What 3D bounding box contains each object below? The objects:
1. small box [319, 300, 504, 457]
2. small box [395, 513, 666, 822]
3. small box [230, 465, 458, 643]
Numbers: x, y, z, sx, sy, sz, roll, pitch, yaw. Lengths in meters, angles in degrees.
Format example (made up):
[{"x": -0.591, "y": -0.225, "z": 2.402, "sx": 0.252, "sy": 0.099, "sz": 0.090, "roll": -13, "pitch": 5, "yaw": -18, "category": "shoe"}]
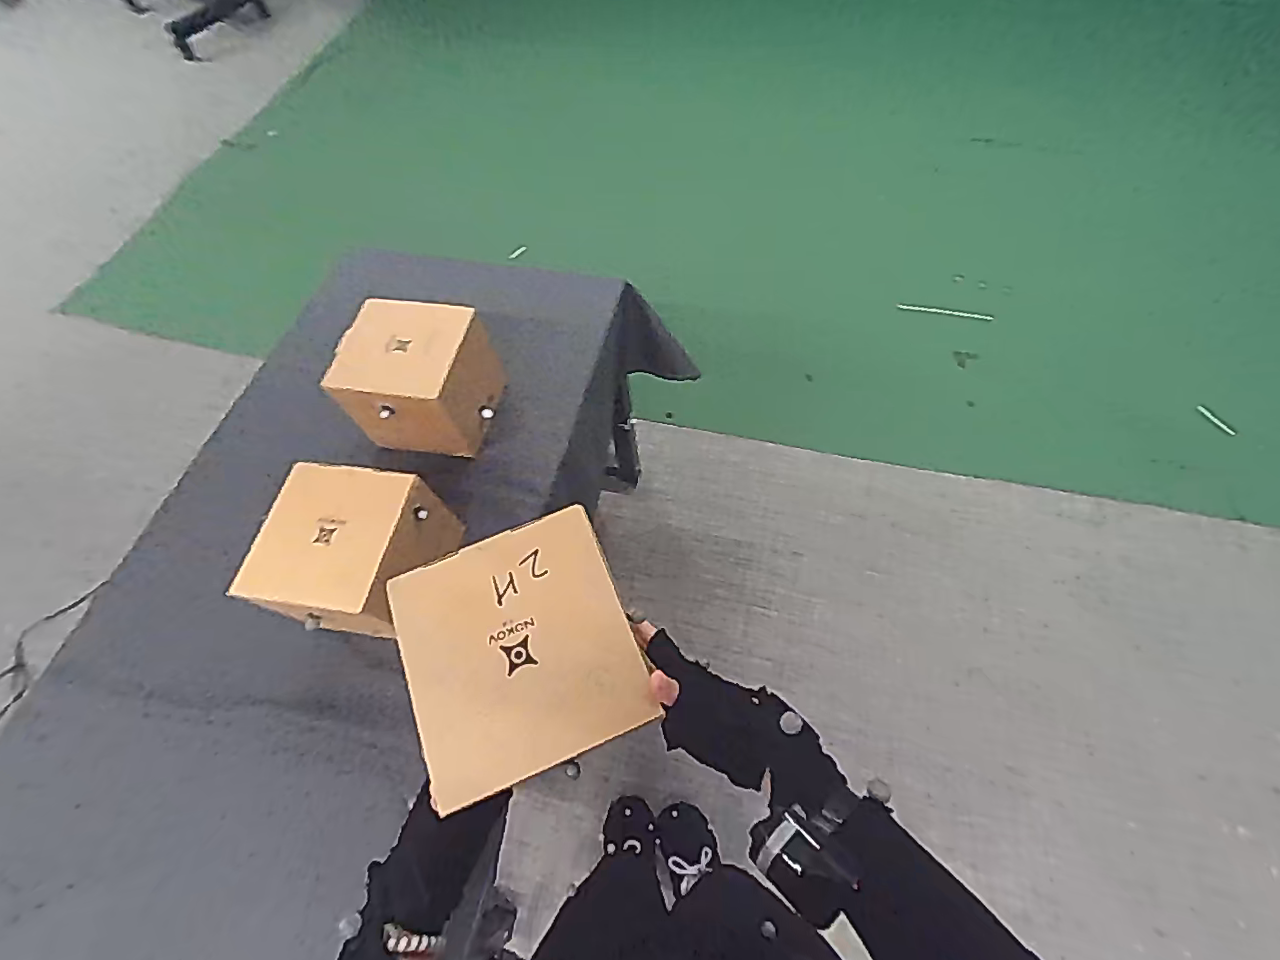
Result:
[{"x": -0.333, "y": -0.149, "z": 0.827, "sx": 0.179, "sy": 0.176, "sz": 0.168, "roll": 8, "pitch": 65, "yaw": 8, "category": "small box"}, {"x": -0.081, "y": 0.156, "z": 0.470, "sx": 0.168, "sy": 0.176, "sz": 0.179, "roll": -21, "pitch": 67, "yaw": -6, "category": "small box"}, {"x": -0.359, "y": 0.102, "z": 0.699, "sx": 0.168, "sy": 0.176, "sz": 0.179, "roll": 6, "pitch": 63, "yaw": 8, "category": "small box"}]
